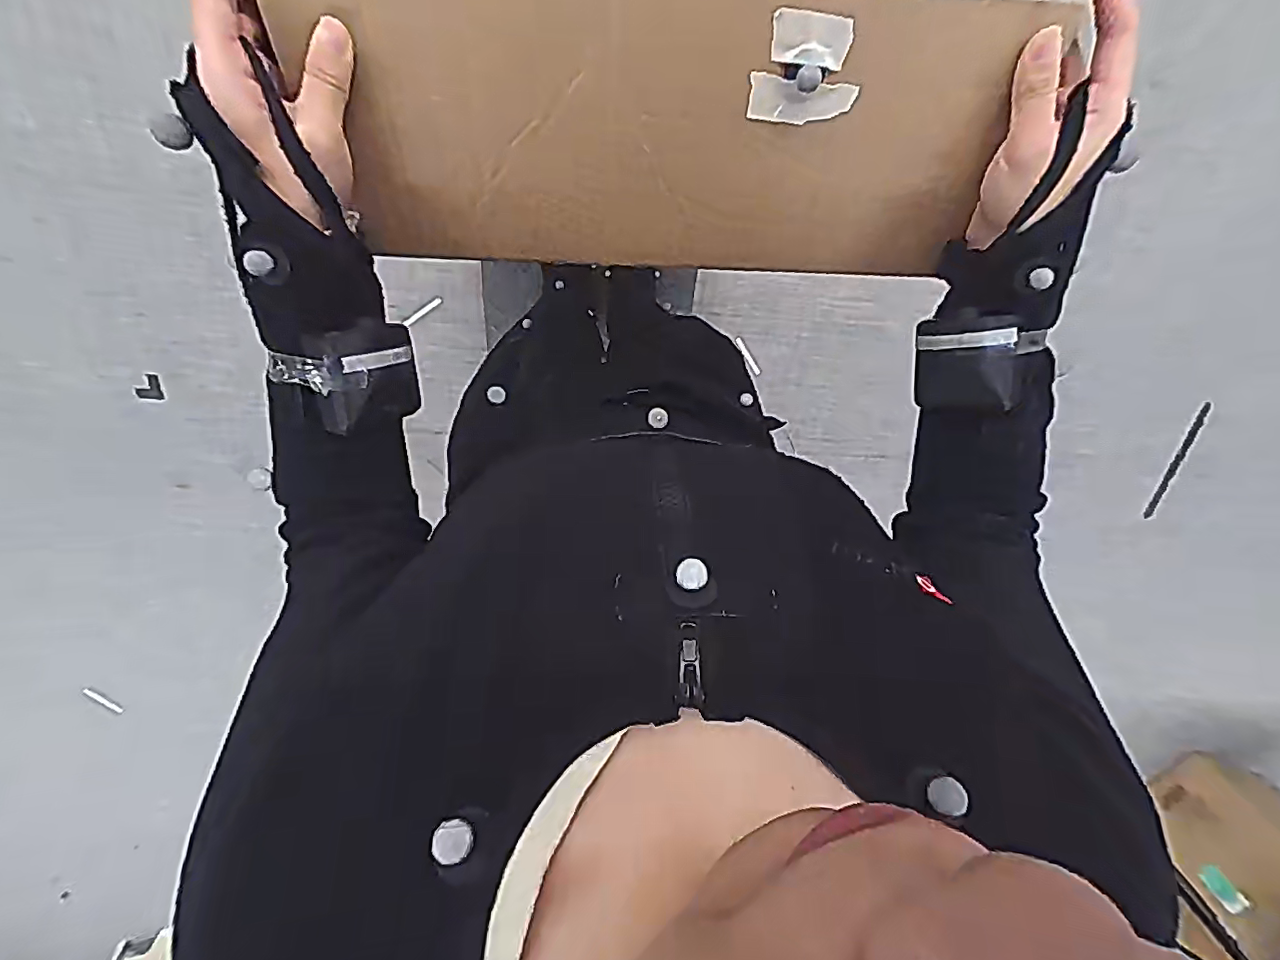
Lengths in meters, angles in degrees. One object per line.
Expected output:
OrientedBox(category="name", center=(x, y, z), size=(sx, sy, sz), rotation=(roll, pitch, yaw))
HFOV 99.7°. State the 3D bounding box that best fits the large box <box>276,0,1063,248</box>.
OrientedBox(category="large box", center=(0.011, -0.371, 0.349), size=(0.408, 0.320, 0.320), rotation=(0, 139, -5))
